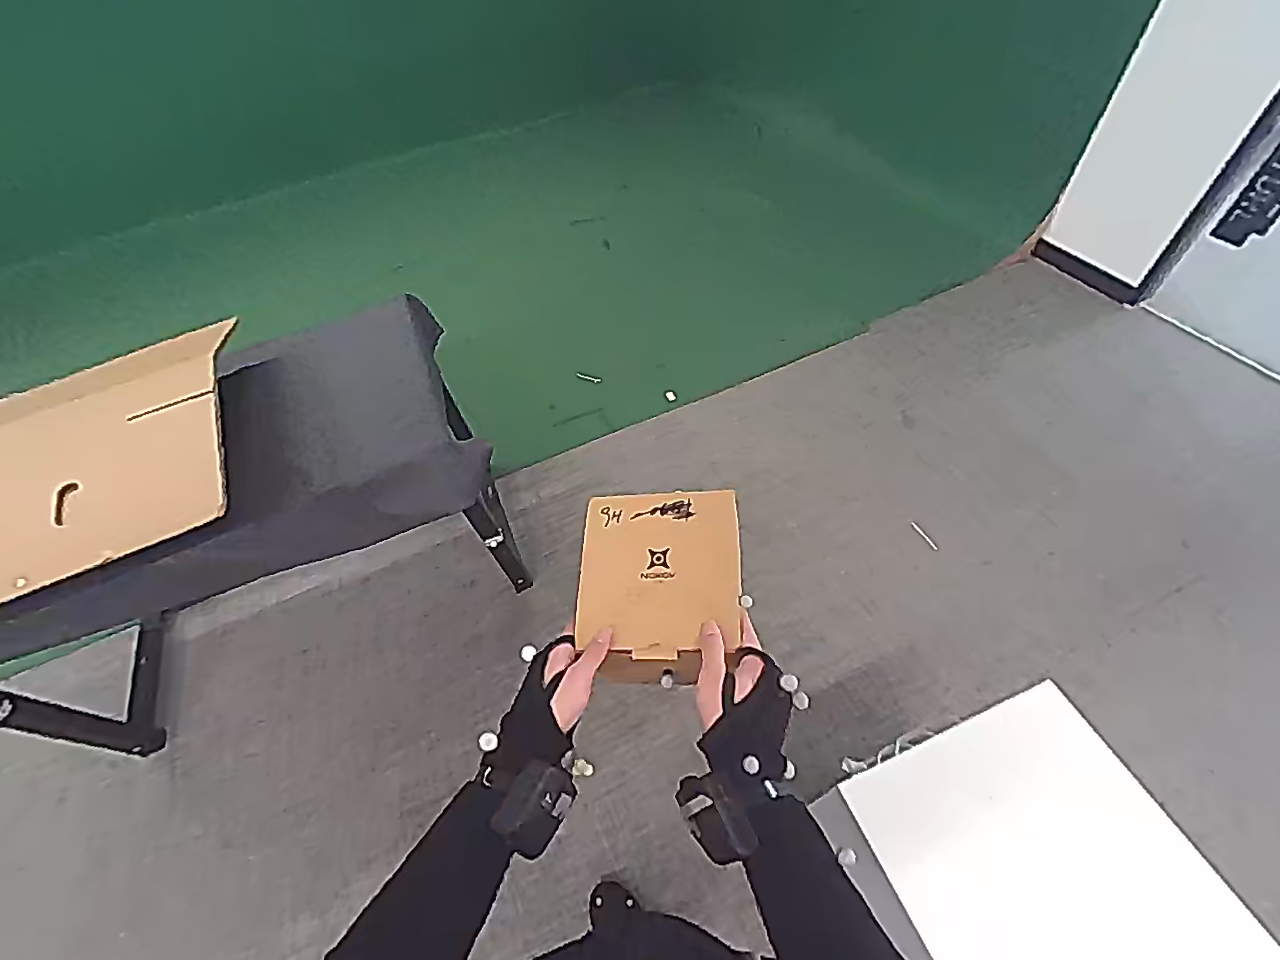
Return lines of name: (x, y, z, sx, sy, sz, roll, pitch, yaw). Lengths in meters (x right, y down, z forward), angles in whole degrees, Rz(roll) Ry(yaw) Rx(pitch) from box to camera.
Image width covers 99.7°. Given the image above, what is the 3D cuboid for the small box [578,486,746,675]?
small box: (0.034, 0.128, 0.637, 0.168, 0.176, 0.179, -5, 58, 10)
